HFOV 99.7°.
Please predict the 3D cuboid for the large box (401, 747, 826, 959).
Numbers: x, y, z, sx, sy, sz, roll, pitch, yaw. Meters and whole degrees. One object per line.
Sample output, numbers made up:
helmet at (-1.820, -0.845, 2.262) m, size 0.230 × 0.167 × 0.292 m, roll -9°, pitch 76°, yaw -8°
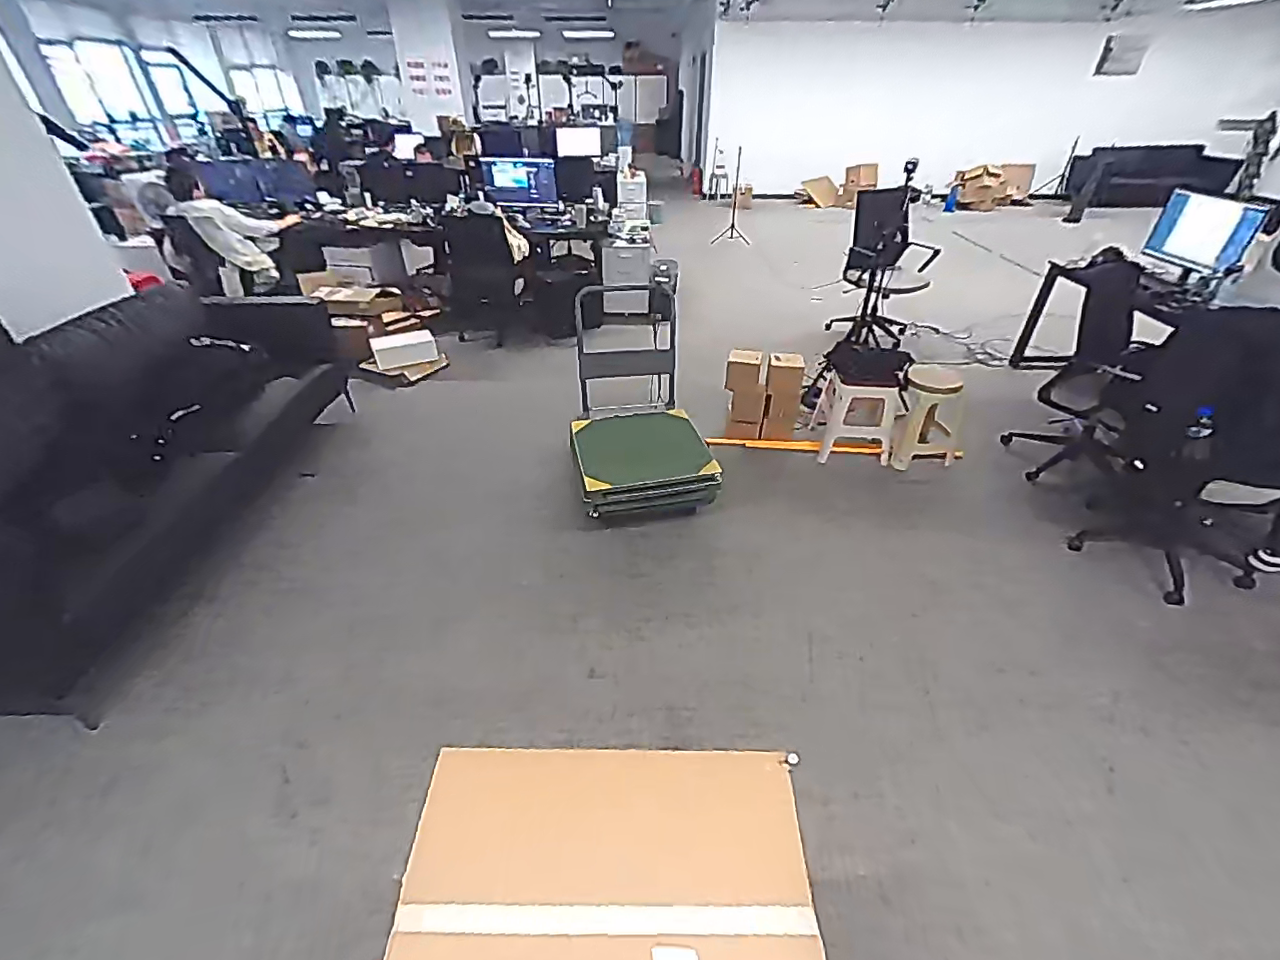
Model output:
large box at (-0.028, 0.532, 0.629) m, size 0.408 × 0.320 × 0.320 m, roll 0°, pitch 44°, yaw 0°
